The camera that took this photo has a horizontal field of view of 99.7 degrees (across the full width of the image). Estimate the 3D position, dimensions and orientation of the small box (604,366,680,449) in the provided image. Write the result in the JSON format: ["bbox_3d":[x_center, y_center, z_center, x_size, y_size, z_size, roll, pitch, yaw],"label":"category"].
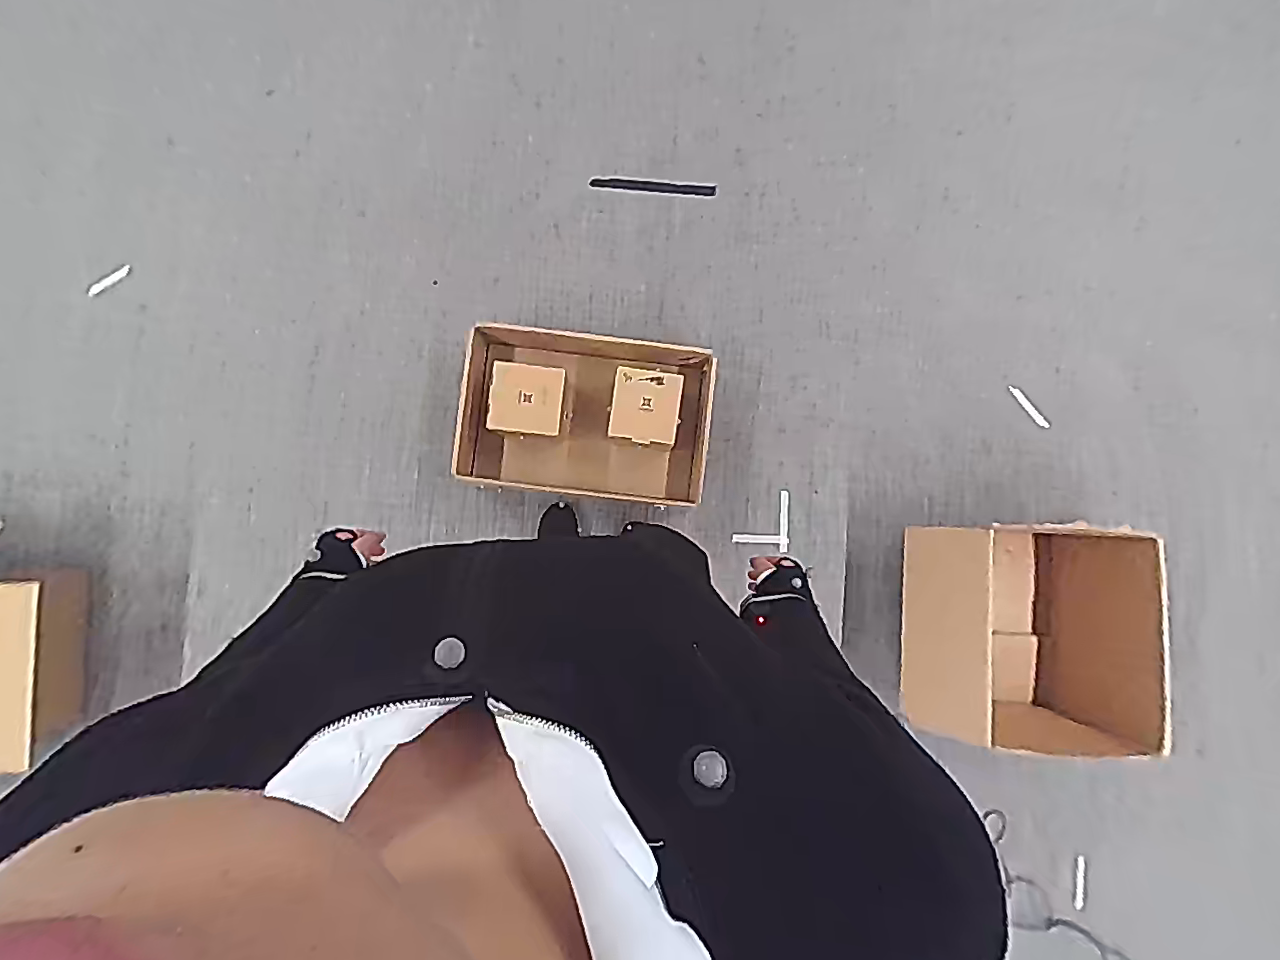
[{"bbox_3d":[0.005,-0.179,1.391,0.168,0.176,0.179,9,89,-1],"label":"small box"}]

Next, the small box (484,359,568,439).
[{"bbox_3d":[-0.284,-0.199,1.381,0.179,0.176,0.168,6,89,-4],"label":"small box"}]
